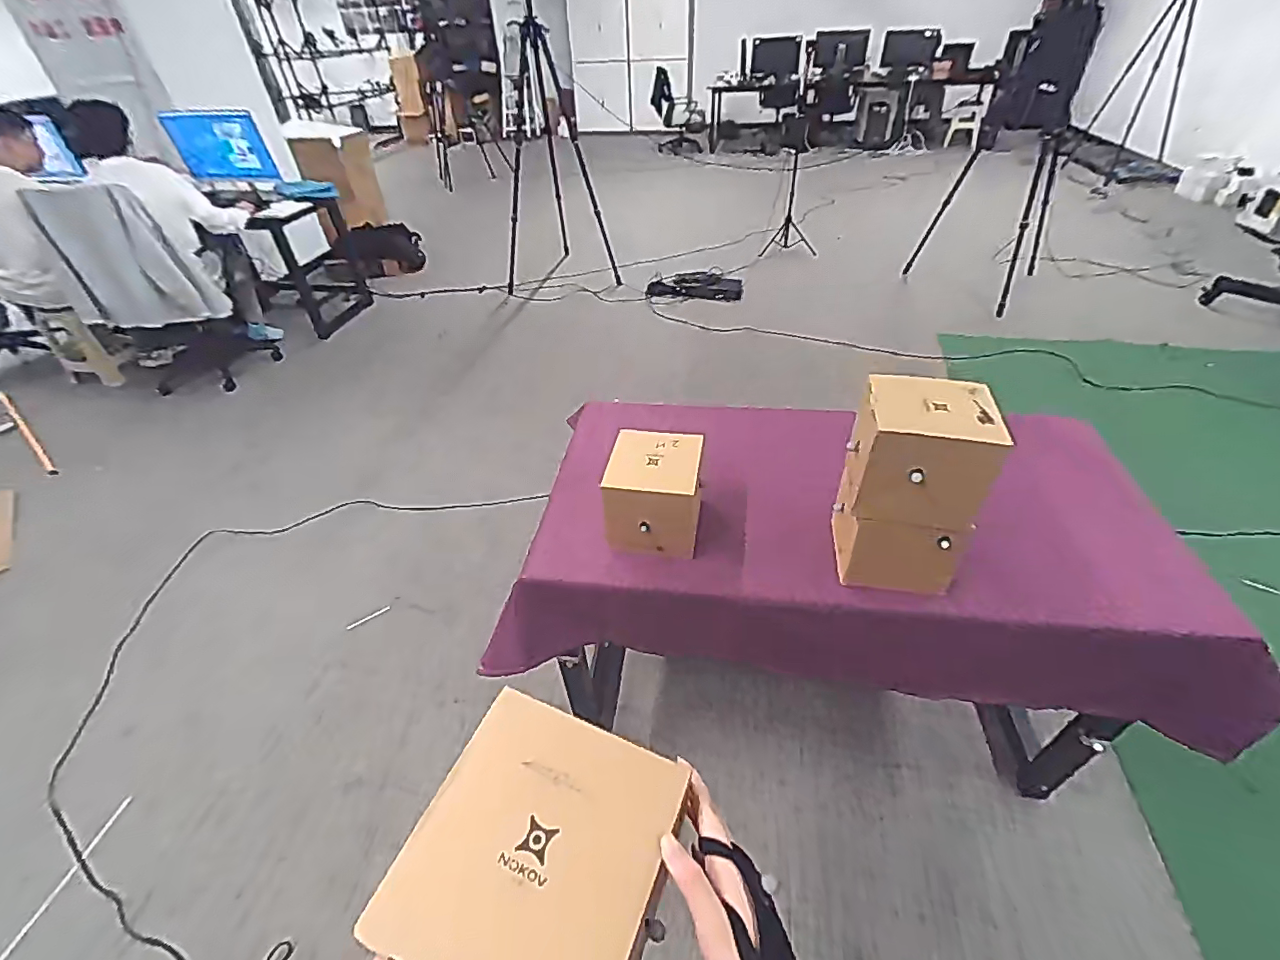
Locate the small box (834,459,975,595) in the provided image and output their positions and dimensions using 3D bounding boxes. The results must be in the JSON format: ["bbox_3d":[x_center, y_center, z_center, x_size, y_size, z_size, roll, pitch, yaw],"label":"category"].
[{"bbox_3d":[0.445,0.082,0.946,0.179,0.176,0.168,4,41,9],"label":"small box"}]

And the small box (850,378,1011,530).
[{"bbox_3d":[0.430,-0.041,0.837,0.179,0.176,0.168,7,42,13],"label":"small box"}]

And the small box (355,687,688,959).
[{"bbox_3d":[-0.068,0.303,0.421,0.168,0.176,0.179,17,49,17],"label":"small box"}]

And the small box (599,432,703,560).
[{"bbox_3d":[0.029,0.031,1.032,0.168,0.176,0.179,6,41,10],"label":"small box"}]
